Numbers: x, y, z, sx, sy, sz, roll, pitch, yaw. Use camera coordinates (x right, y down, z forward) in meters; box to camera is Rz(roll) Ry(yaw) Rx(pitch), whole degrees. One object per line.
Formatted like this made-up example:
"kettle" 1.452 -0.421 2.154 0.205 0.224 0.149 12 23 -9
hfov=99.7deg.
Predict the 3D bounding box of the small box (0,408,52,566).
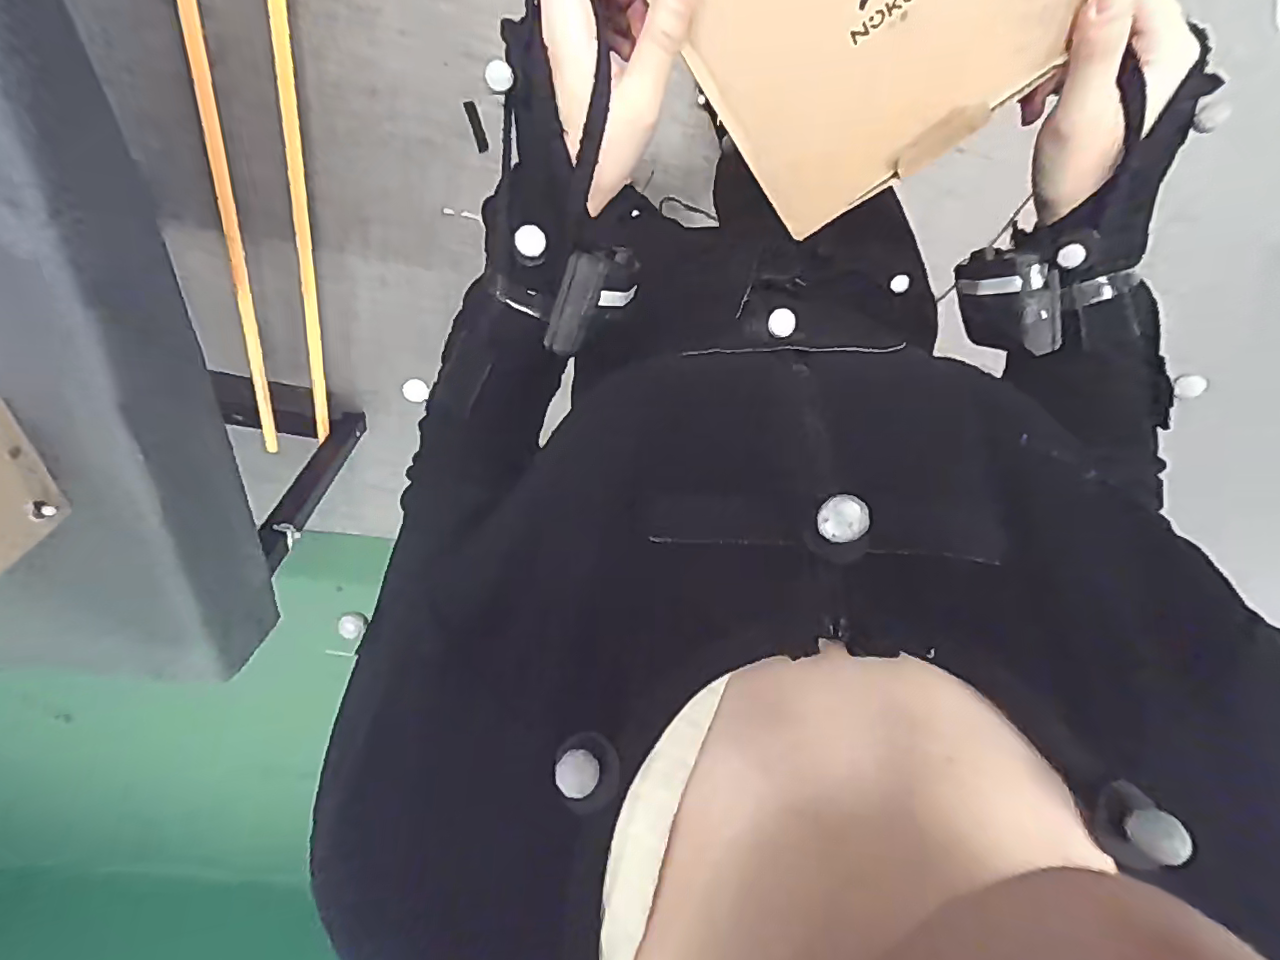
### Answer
"small box" -0.746 0.016 0.522 0.179 0.176 0.168 7 127 -7
